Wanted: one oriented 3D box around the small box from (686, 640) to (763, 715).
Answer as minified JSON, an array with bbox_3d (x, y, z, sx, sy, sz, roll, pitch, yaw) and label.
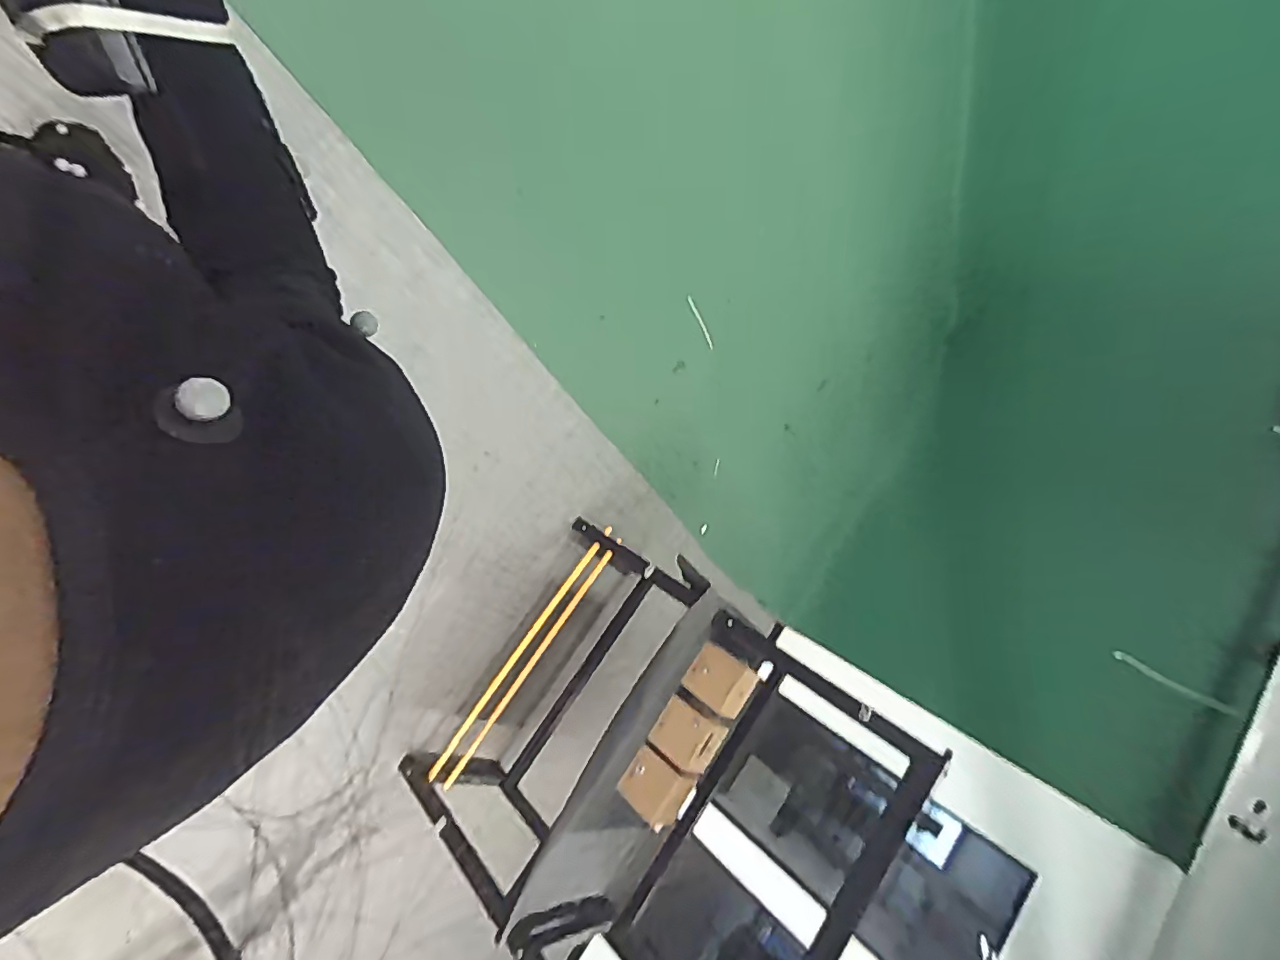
[{"bbox_3d":[0.286,0.669,1.838,0.168,0.176,0.179,-57,142,-8],"label":"small box"}]
